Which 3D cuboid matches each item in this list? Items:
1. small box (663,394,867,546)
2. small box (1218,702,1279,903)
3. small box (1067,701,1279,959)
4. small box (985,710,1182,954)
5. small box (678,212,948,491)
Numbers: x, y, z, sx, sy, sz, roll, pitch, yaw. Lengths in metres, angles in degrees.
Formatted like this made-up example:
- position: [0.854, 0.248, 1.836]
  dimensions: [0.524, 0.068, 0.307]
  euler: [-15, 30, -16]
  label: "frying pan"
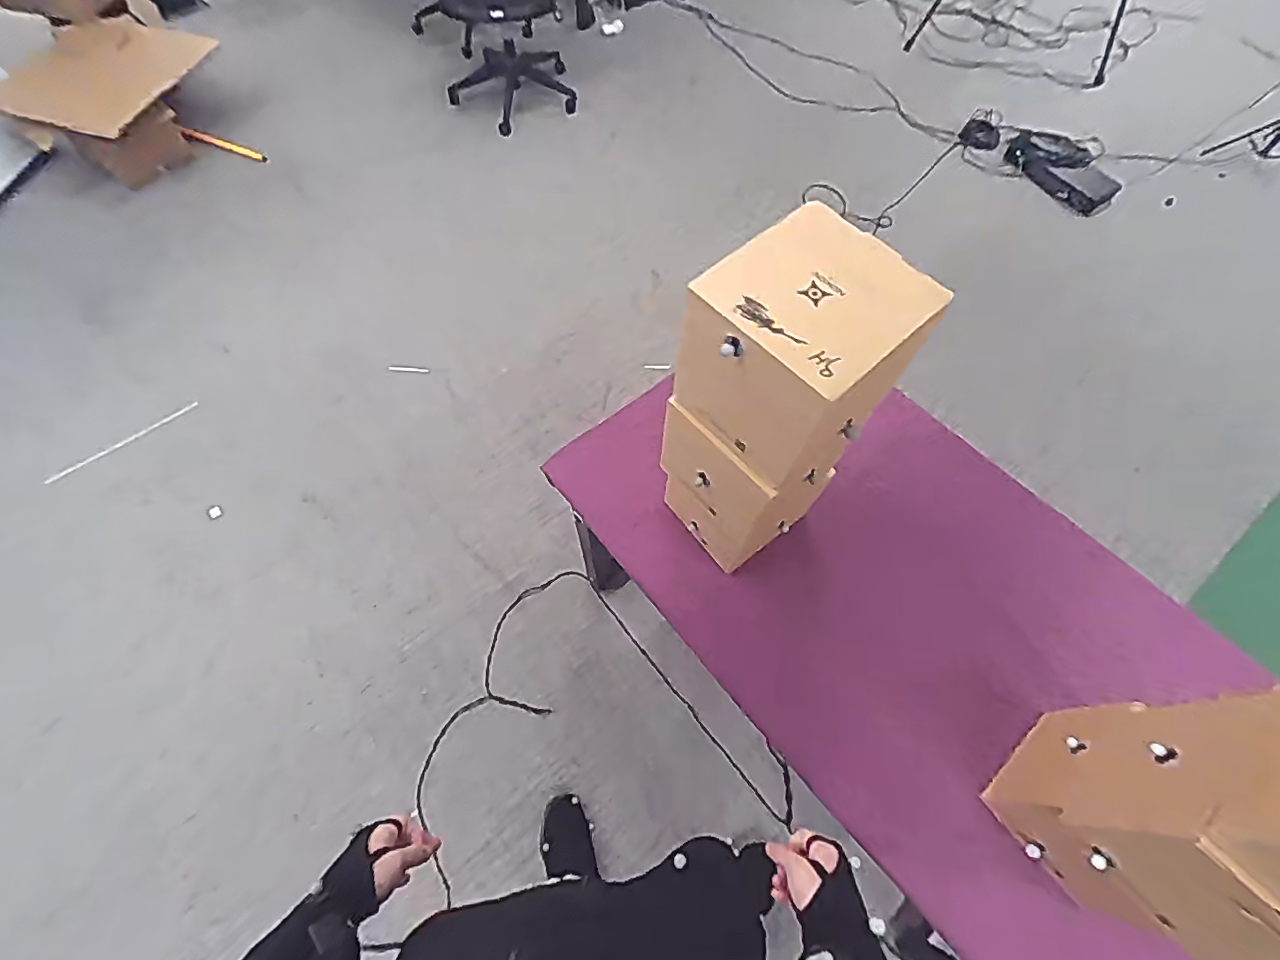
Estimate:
- position: [0.145, -0.043, 0.690]
  dimensions: [0.179, 0.176, 0.168]
  euler: [-37, 70, -18]
  label: "small box"
- position: [0.571, 0.260, 0.366]
  dimensions: [0.179, 0.176, 0.168]
  euler: [-38, 68, -20]
  label: "small box"
- position: [0.558, 0.342, 0.506]
  dimensions: [0.179, 0.176, 0.168]
  euler: [-36, 68, -20]
  label: "small box"
- position: [0.571, 0.409, 0.656]
  dimensions: [0.179, 0.176, 0.168]
  euler: [-35, 67, -17]
  label: "small box"
- position: [0.154, -0.122, 0.546]
  dimensions: [0.179, 0.176, 0.168]
  euler: [-38, 70, -18]
  label: "small box"
